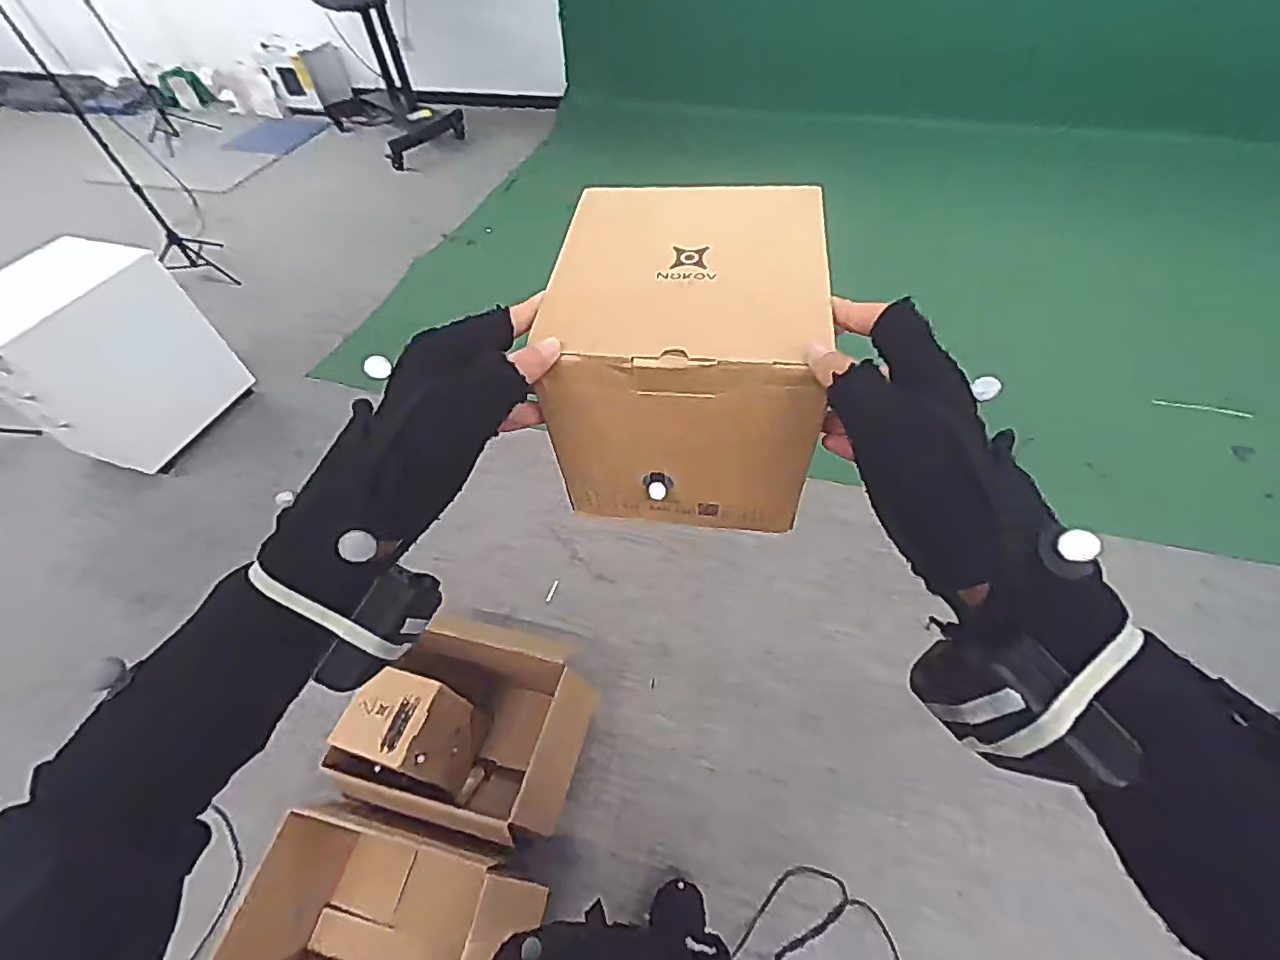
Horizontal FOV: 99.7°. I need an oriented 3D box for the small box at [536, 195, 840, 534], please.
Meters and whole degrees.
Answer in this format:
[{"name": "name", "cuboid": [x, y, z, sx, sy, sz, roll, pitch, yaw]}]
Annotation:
[{"name": "small box", "cuboid": [0.039, -0.082, 0.398, 0.168, 0.176, 0.179, 4, 56, 8]}]
